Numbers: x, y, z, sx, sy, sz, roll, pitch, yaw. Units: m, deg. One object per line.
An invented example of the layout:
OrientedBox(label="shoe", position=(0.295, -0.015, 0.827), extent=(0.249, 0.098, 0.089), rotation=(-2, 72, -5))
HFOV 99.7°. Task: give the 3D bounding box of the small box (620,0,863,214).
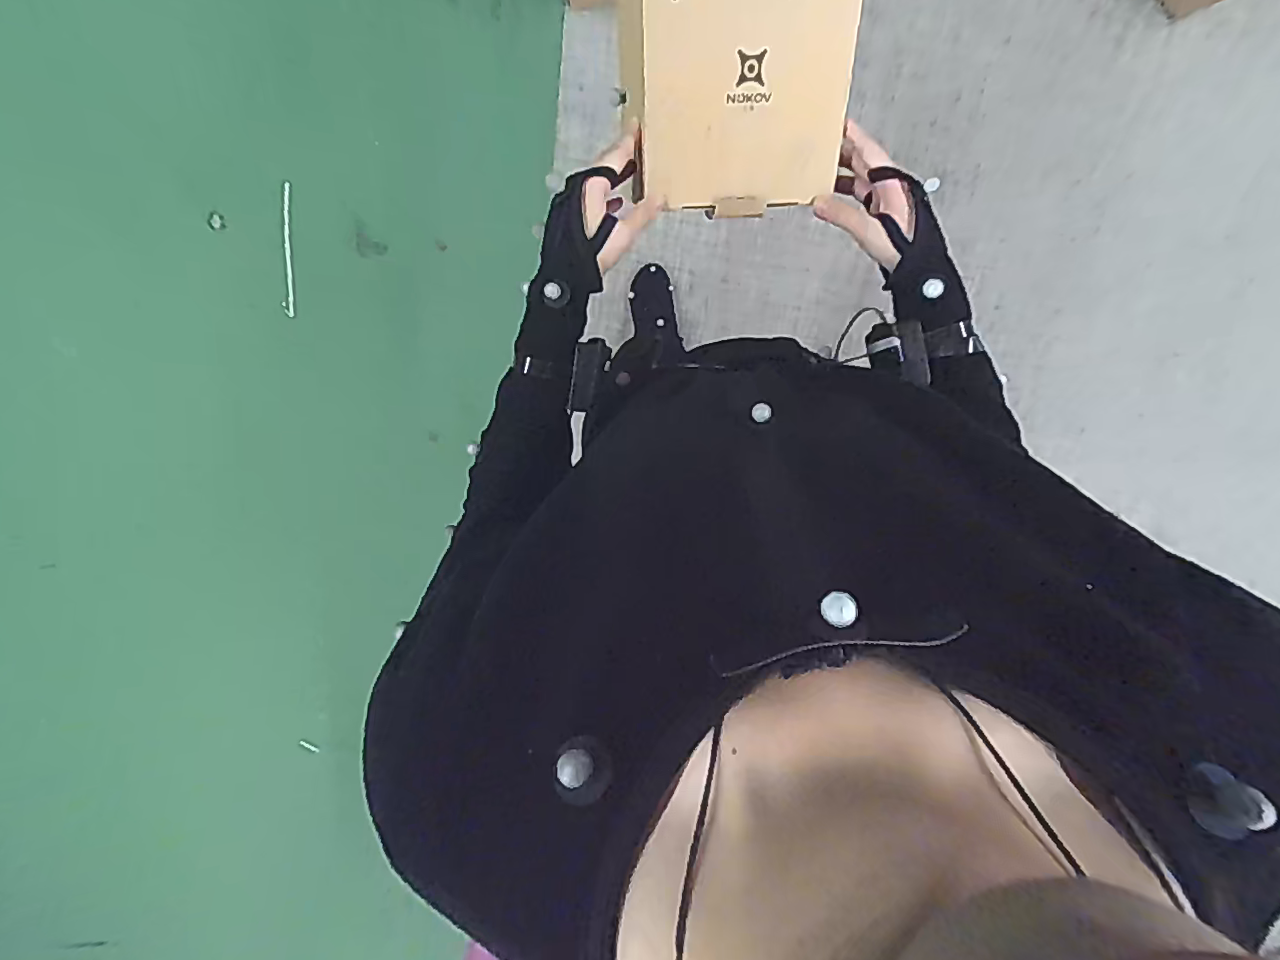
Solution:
OrientedBox(label="small box", position=(0.073, -0.346, 0.482), extent=(0.168, 0.176, 0.179), rotation=(-5, 122, -6))
